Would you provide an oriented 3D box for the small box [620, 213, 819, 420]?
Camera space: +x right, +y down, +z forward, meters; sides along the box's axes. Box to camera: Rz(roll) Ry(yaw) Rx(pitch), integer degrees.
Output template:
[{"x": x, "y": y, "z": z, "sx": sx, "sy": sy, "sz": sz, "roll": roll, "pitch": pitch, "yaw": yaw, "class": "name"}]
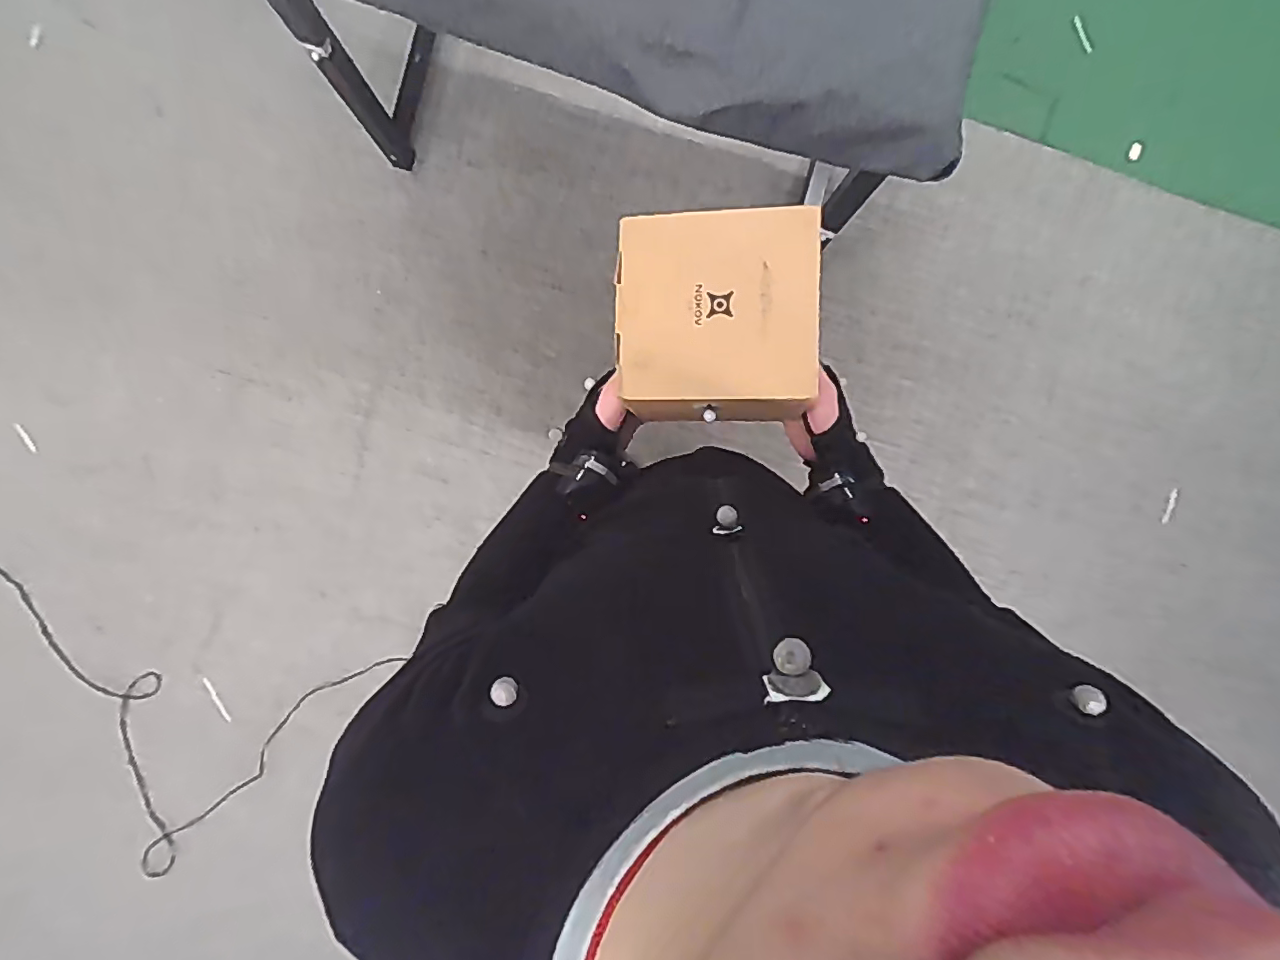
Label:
[{"x": 0.080, "y": -0.153, "z": 0.561, "sx": 0.179, "sy": 0.176, "sz": 0.168, "roll": 1, "pitch": 90, "yaw": 8, "class": "small box"}]
